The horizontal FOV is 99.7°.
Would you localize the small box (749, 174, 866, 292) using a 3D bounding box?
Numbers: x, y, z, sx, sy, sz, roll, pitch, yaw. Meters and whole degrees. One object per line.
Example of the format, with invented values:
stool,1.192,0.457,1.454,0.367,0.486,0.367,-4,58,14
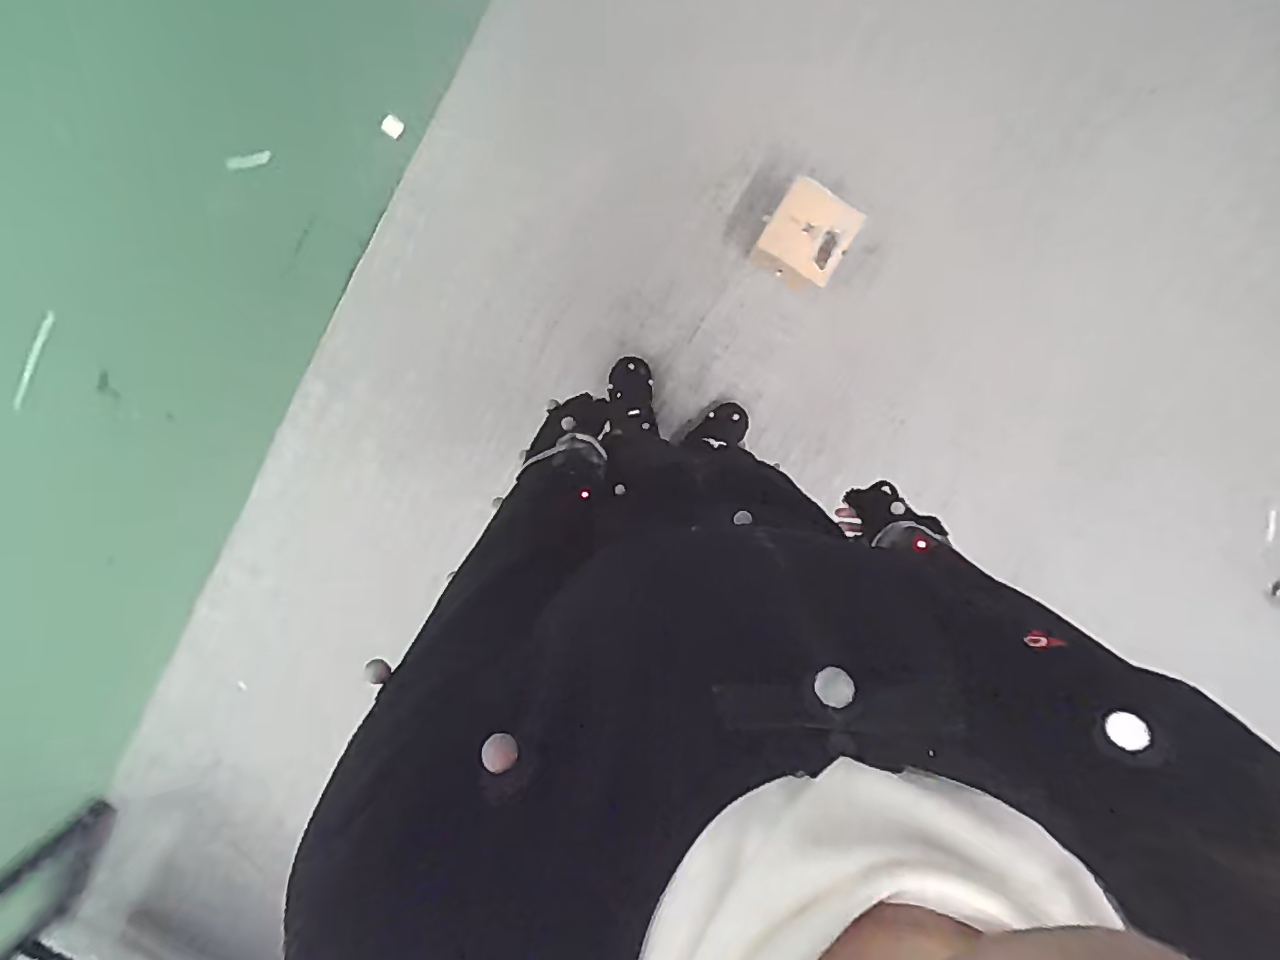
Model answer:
small box,0.369,-0.546,1.226,0.179,0.176,0.168,32,102,-3
